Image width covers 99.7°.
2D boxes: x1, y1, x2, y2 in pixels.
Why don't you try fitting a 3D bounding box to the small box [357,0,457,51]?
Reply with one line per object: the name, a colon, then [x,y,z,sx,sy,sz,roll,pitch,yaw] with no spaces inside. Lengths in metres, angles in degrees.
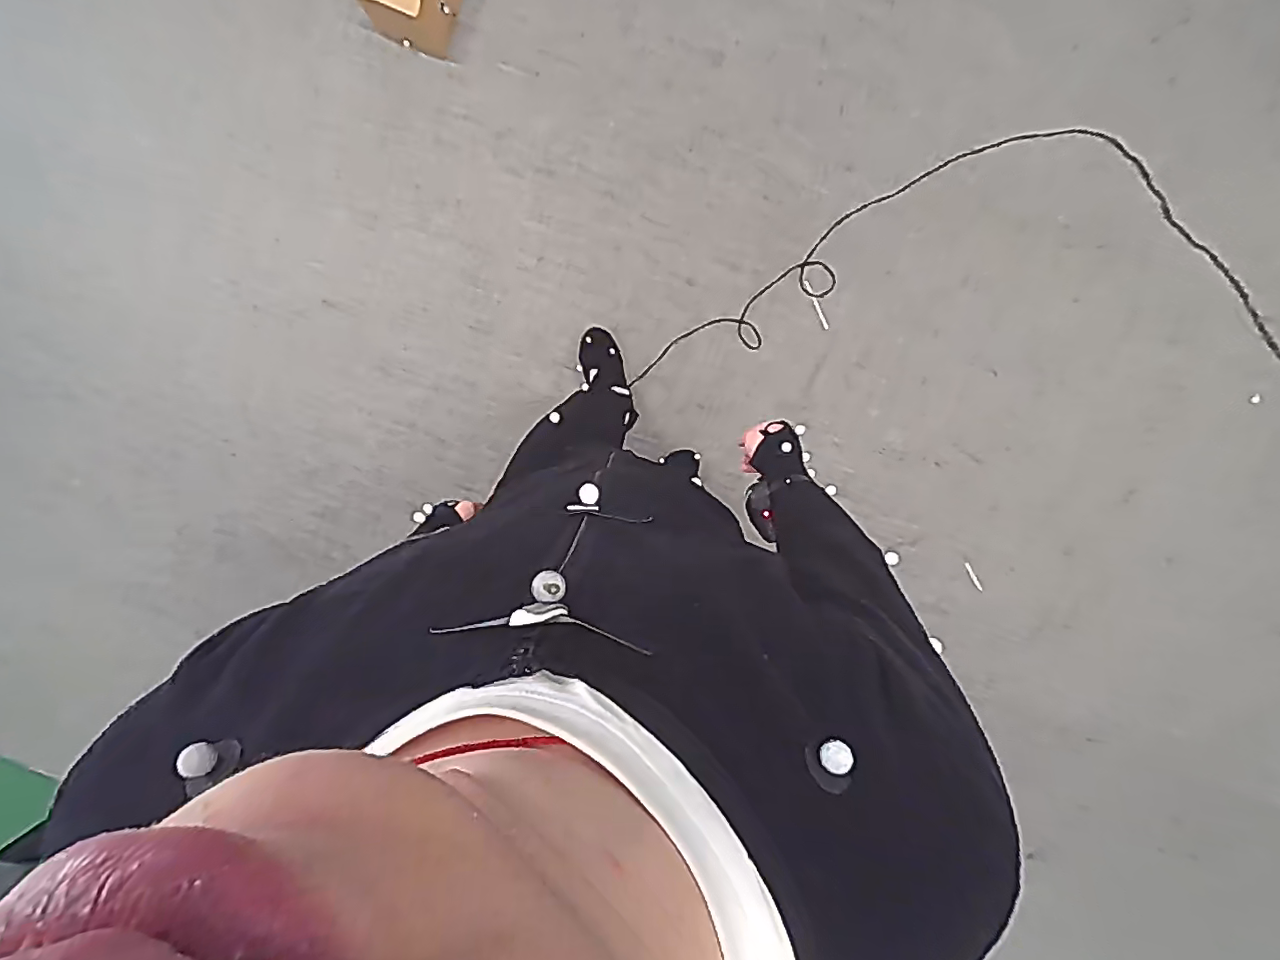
small box: [-0.572,-1.204,1.321,0.179,0.176,0.168,21,98,-1]
